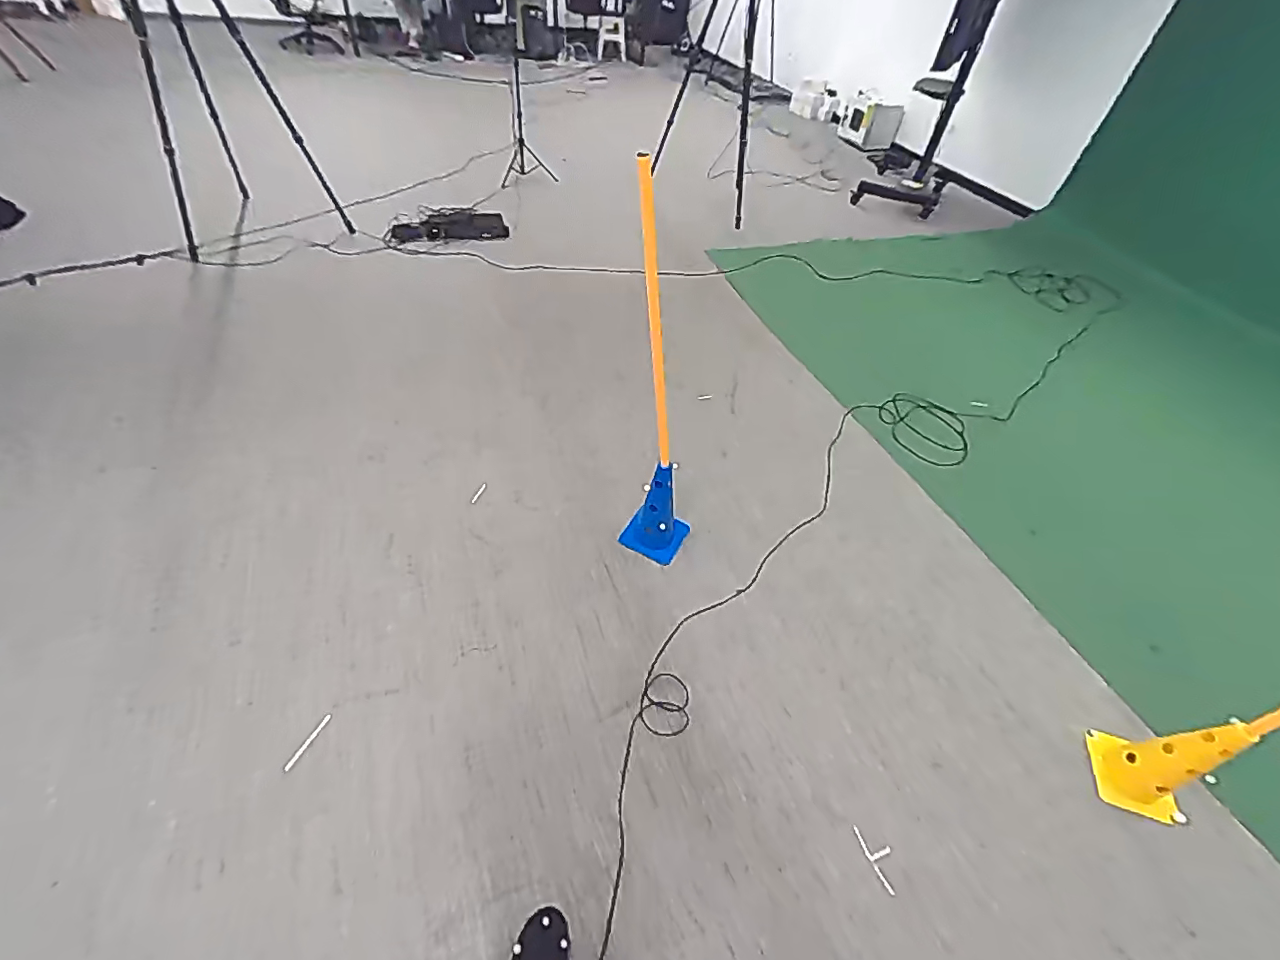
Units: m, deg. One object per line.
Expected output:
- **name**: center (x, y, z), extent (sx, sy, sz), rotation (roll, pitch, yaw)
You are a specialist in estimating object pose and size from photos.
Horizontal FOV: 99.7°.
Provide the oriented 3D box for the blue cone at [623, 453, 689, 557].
- **blue cone**: center (0.066, 0.064, 1.748), extent (0.193, 0.380, 0.192), rotation (23, 49, 16)
